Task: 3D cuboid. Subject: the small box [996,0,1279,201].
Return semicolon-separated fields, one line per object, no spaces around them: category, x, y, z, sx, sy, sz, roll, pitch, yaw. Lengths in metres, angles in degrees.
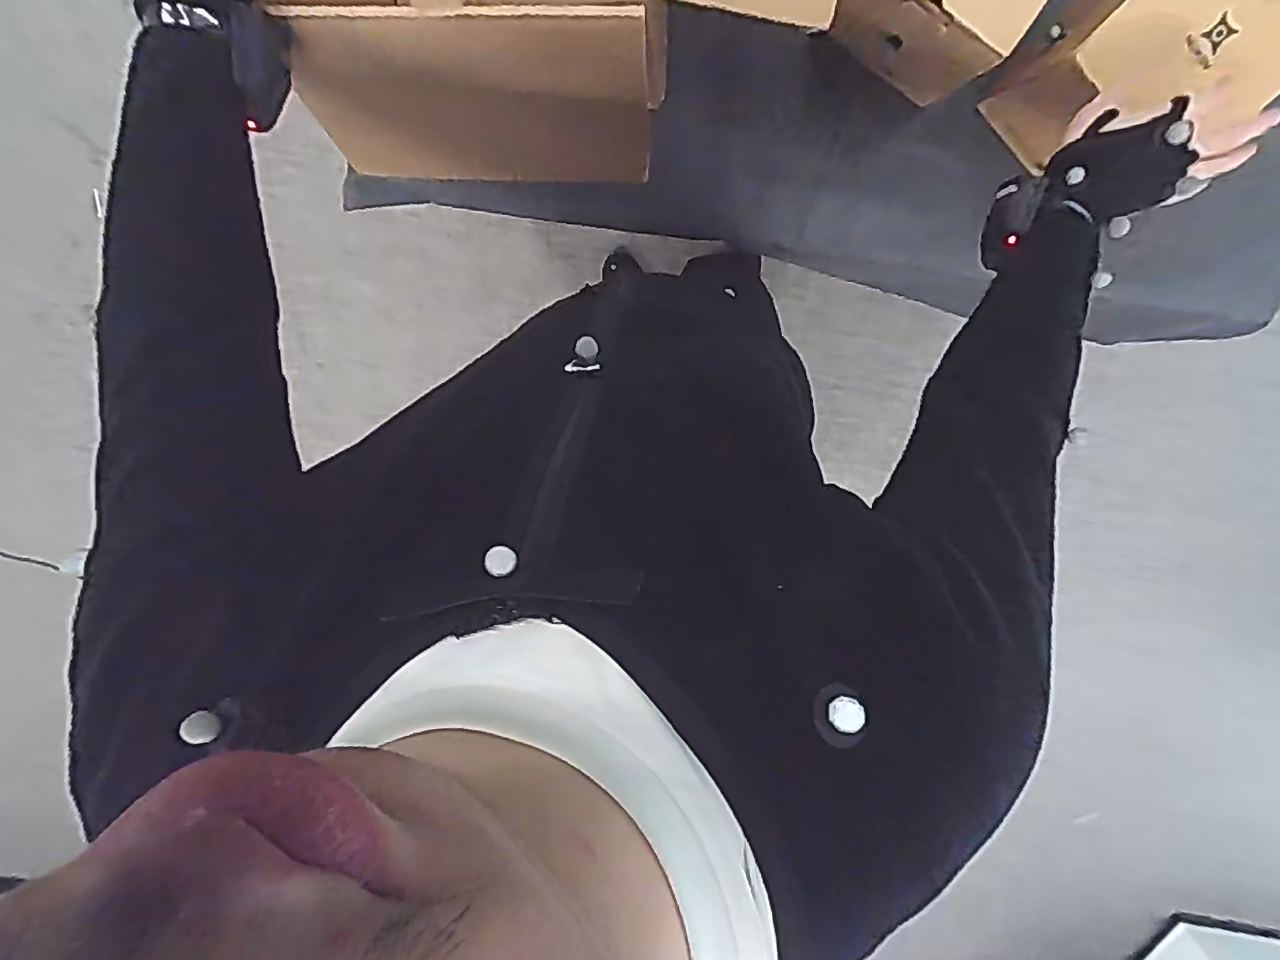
small box;0.508;-0.414;0.550;0.168;0.176;0.179;38;109;-13
